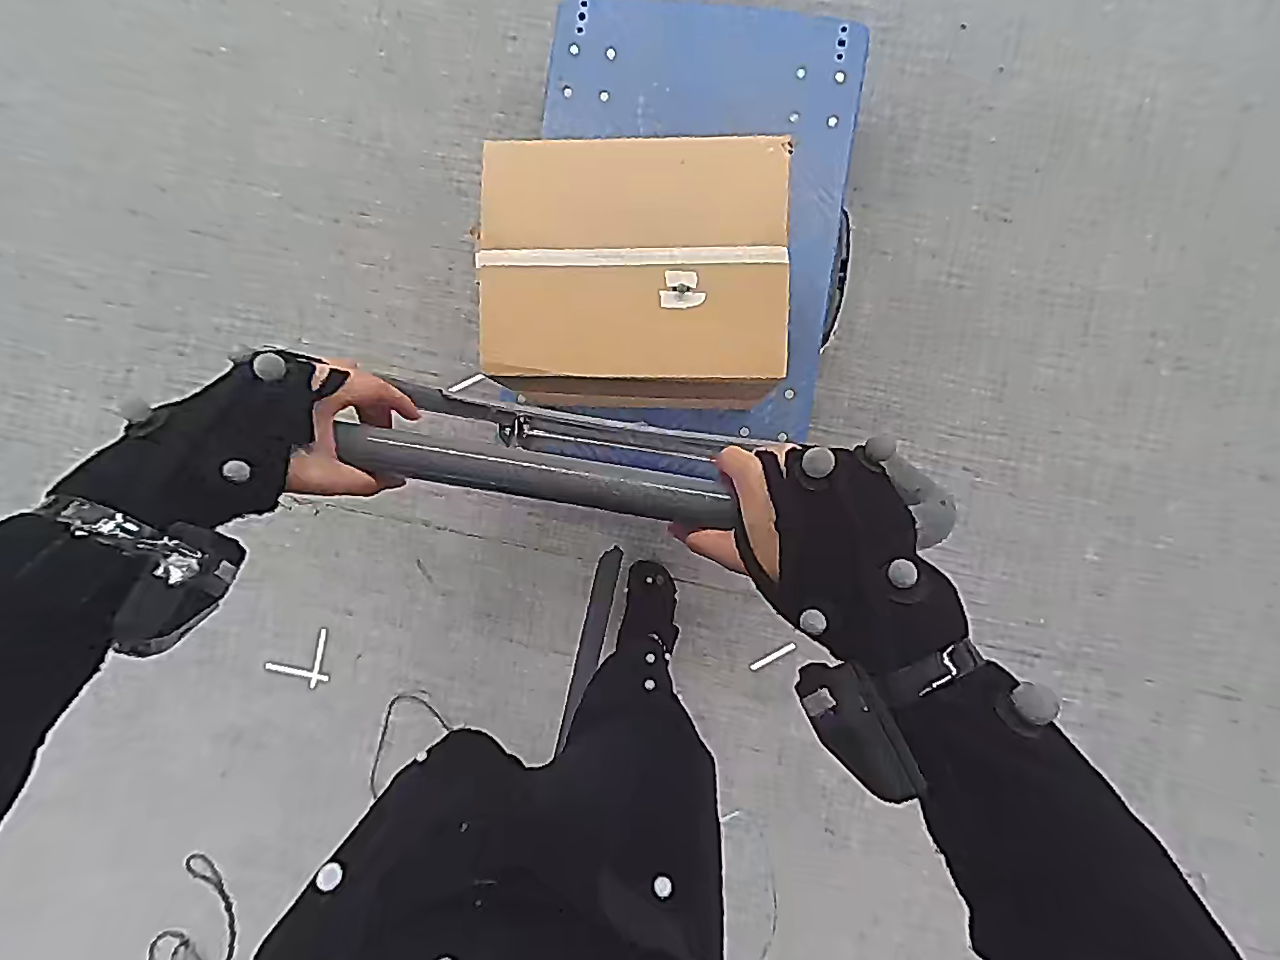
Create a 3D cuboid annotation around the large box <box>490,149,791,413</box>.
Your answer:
[{"bbox_3d":[0.003,-0.282,0.864,0.408,0.320,0.320,1,91,3],"label":"large box"}]
